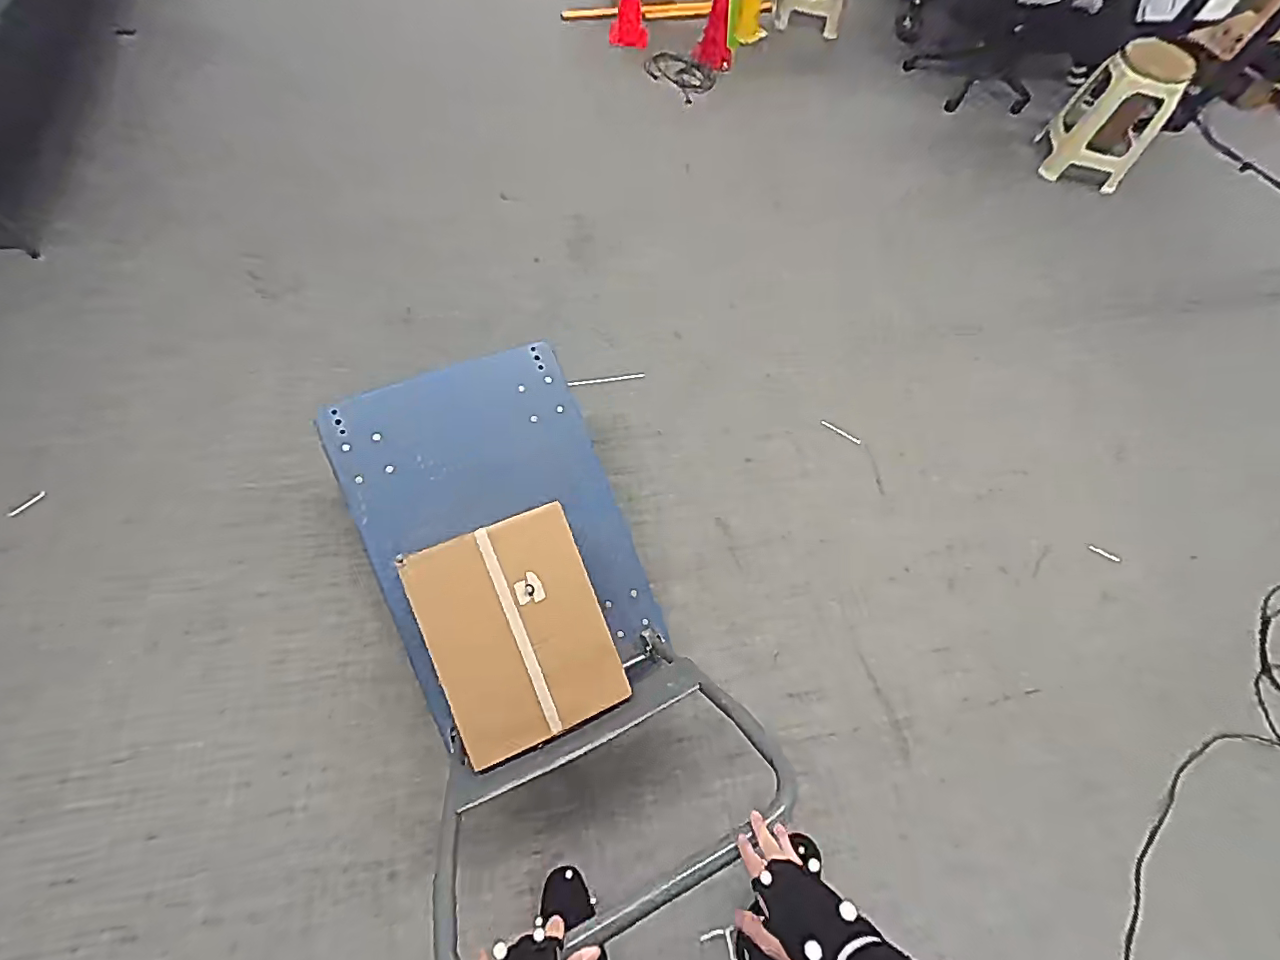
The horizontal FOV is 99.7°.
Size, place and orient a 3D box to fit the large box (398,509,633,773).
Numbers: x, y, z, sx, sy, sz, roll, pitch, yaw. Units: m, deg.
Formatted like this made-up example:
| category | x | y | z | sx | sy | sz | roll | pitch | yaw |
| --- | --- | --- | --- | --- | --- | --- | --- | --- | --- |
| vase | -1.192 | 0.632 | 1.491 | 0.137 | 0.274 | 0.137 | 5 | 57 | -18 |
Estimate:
| category | x | y | z | sx | sy | sz | roll | pitch | yaw |
| --- | --- | --- | --- | --- | --- | --- | --- | --- | --- |
| large box | -0.256 | 0.308 | 1.148 | 0.320 | 0.320 | 0.408 | -22 | 89 | -16 |
